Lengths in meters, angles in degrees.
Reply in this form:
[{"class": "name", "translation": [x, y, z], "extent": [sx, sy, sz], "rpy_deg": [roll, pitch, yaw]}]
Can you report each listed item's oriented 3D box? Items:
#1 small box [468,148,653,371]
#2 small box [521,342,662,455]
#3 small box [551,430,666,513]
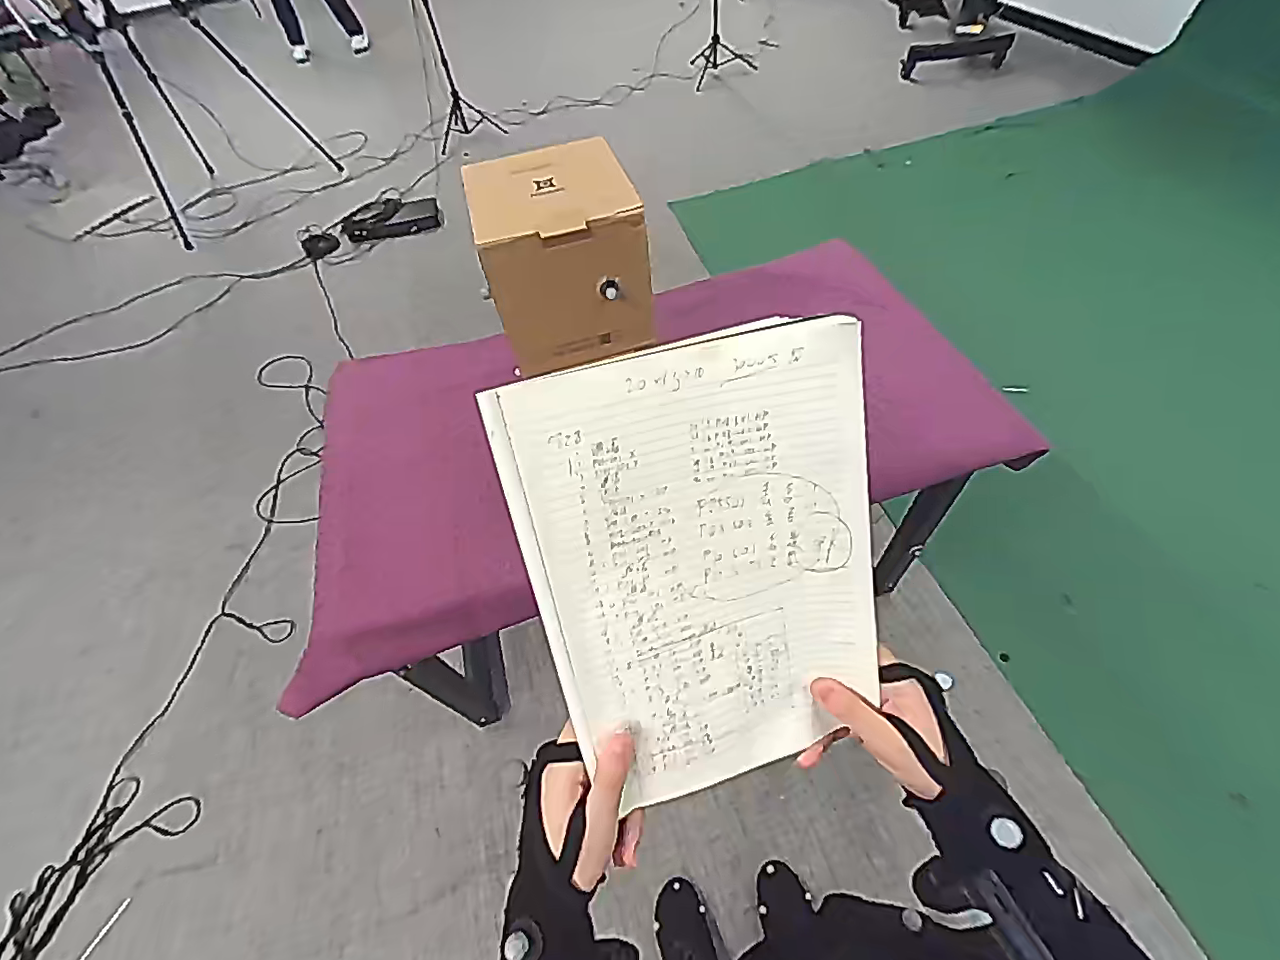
[{"class": "small box", "translation": [-0.087, -0.247, 0.628], "extent": [0.168, 0.176, 0.179], "rpy_deg": [-15, 53, -5]}, {"class": "small box", "translation": [-0.073, -0.155, 0.762], "extent": [0.168, 0.176, 0.179], "rpy_deg": [-16, 53, -5]}, {"class": "small box", "translation": [-0.059, -0.063, 0.899], "extent": [0.168, 0.176, 0.179], "rpy_deg": [-16, 55, -6]}]
